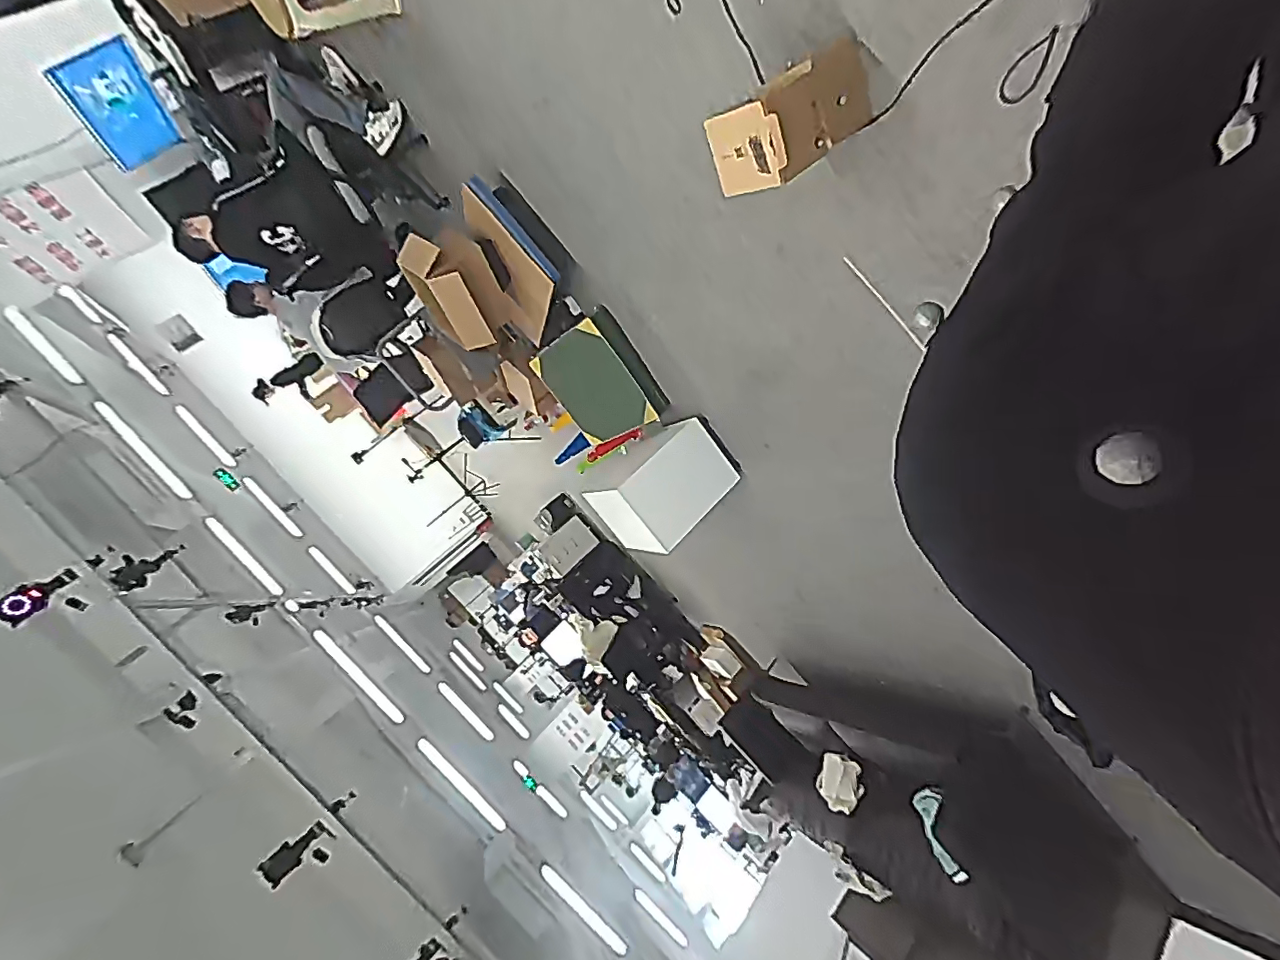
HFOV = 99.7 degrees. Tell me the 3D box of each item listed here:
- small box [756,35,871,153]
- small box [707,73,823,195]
[{"bbox_3d":[0.404,-0.867,1.245,0.168,0.176,0.179,18,144,54],"label":"small box"},{"bbox_3d":[0.284,-0.763,1.197,0.179,0.176,0.168,23,148,50],"label":"small box"}]
